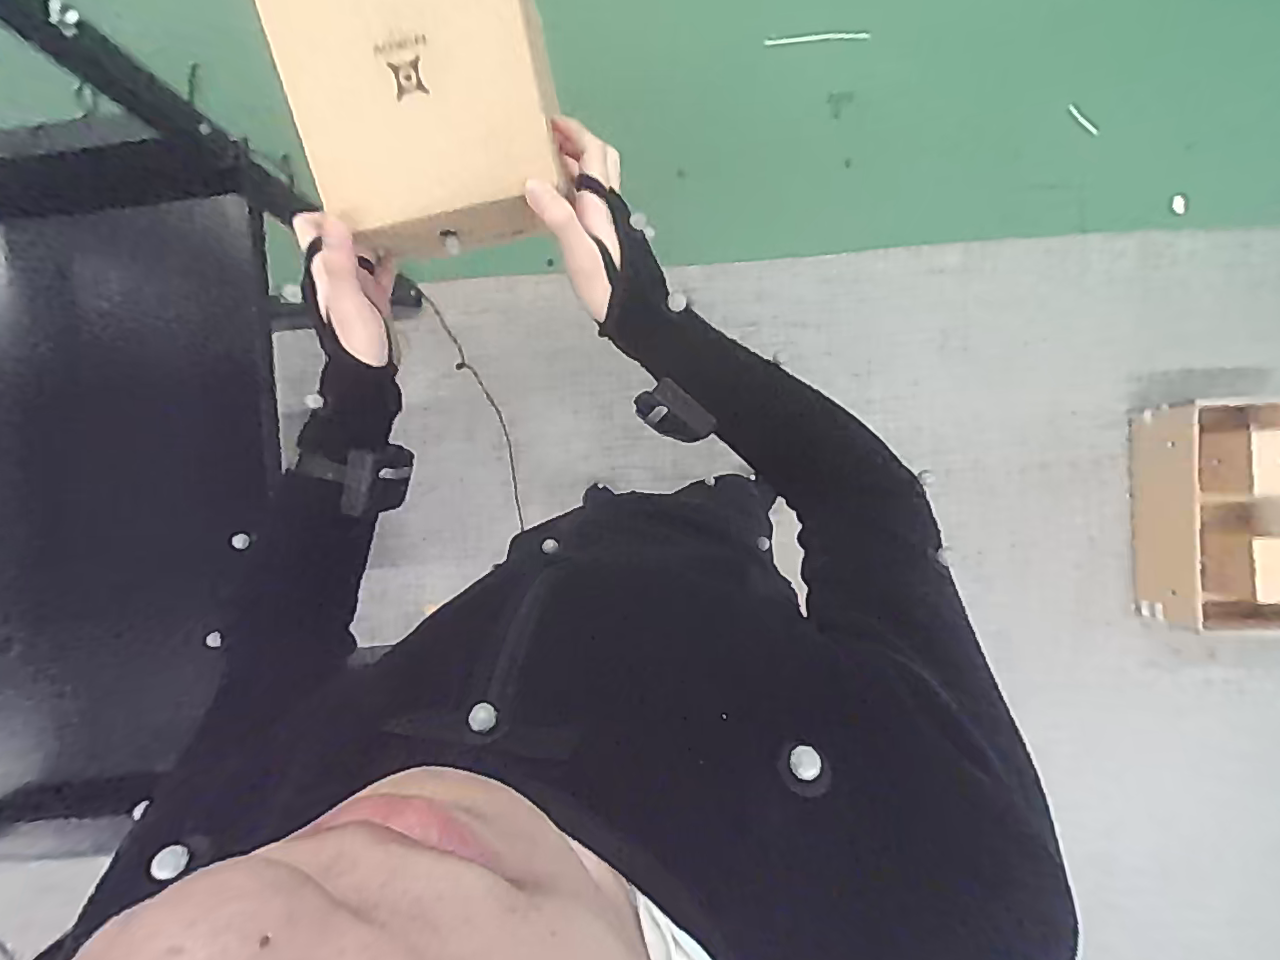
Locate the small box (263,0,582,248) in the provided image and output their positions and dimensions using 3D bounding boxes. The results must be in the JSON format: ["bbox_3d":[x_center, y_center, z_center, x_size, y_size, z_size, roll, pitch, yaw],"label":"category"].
[{"bbox_3d":[-0.148,-0.292,0.428,0.168,0.176,0.179,-11,106,3],"label":"small box"}]

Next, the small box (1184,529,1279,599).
[{"bbox_3d":[1.636,0.220,1.455,0.179,0.176,0.168,-2,89,3],"label":"small box"}]

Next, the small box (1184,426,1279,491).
[{"bbox_3d":[1.624,-0.055,1.453,0.179,0.176,0.168,-2,91,1],"label":"small box"}]
